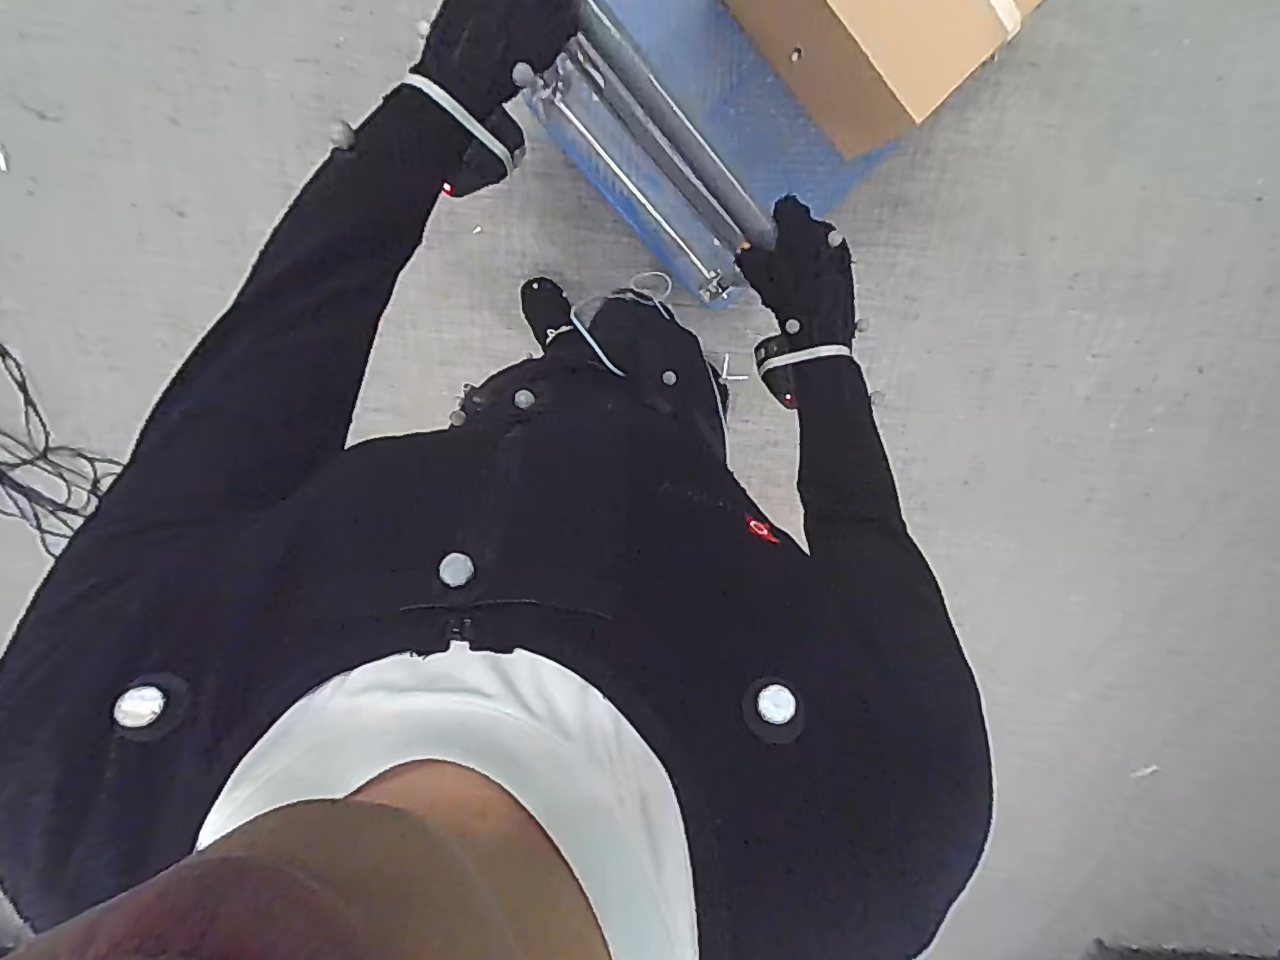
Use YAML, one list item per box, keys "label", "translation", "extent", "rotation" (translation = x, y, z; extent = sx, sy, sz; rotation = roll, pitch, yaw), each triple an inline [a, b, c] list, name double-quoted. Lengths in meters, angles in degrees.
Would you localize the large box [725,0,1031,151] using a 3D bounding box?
- label: "large box"
  translation: [0.371, -0.812, 0.839]
  extent: [0.408, 0.320, 0.320]
  rotation: [41, 106, -14]
